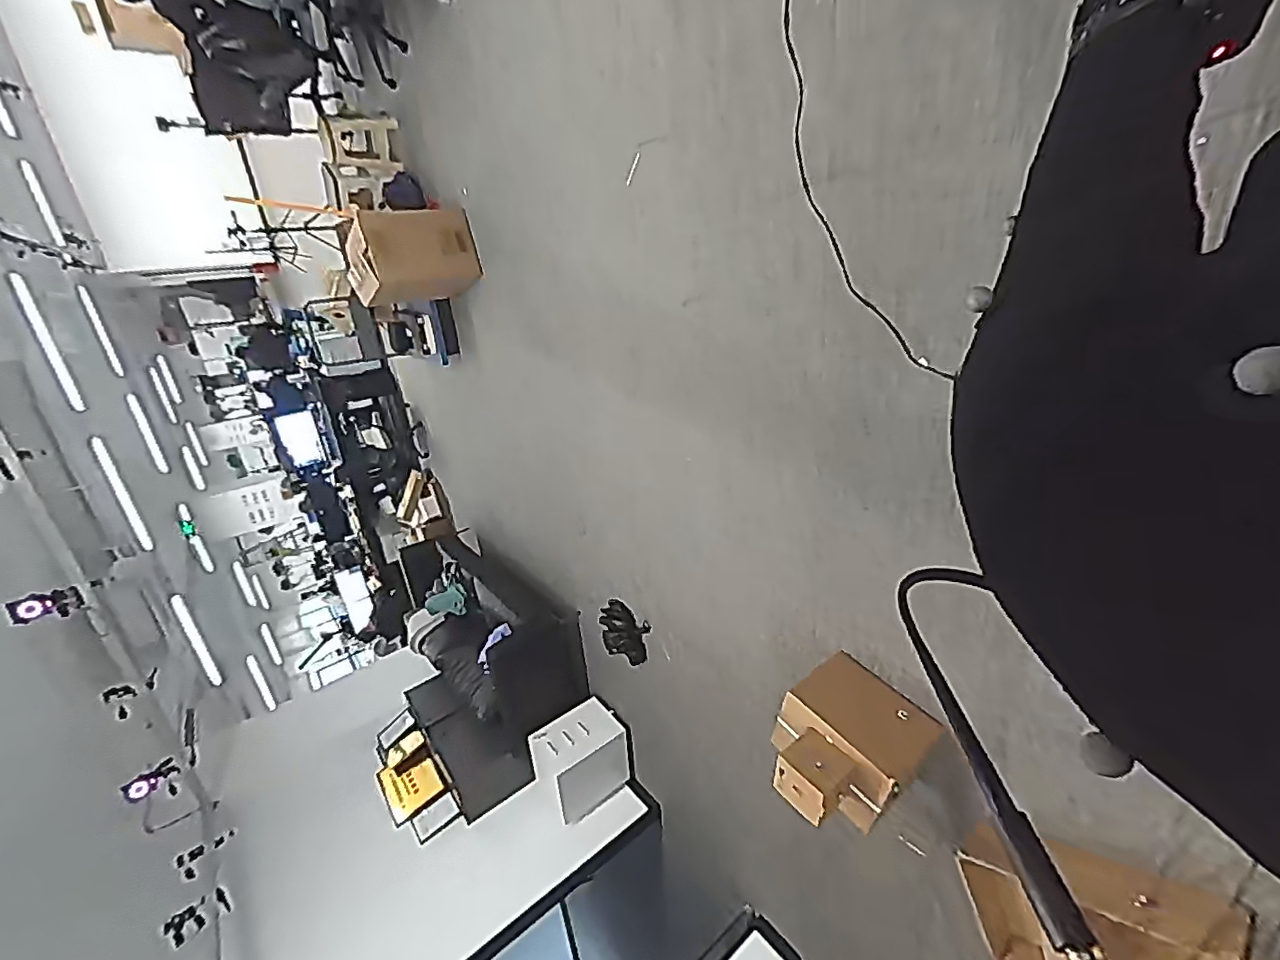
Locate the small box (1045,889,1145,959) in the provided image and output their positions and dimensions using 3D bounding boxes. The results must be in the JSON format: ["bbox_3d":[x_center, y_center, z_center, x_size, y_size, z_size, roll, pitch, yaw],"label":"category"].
[{"bbox_3d":[1.217,1.257,1.443,0.168,0.176,0.179,-3,107,55],"label":"small box"}]

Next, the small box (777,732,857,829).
[{"bbox_3d":[0.567,0.953,1.731,0.179,0.176,0.168,29,130,44],"label":"small box"}]
